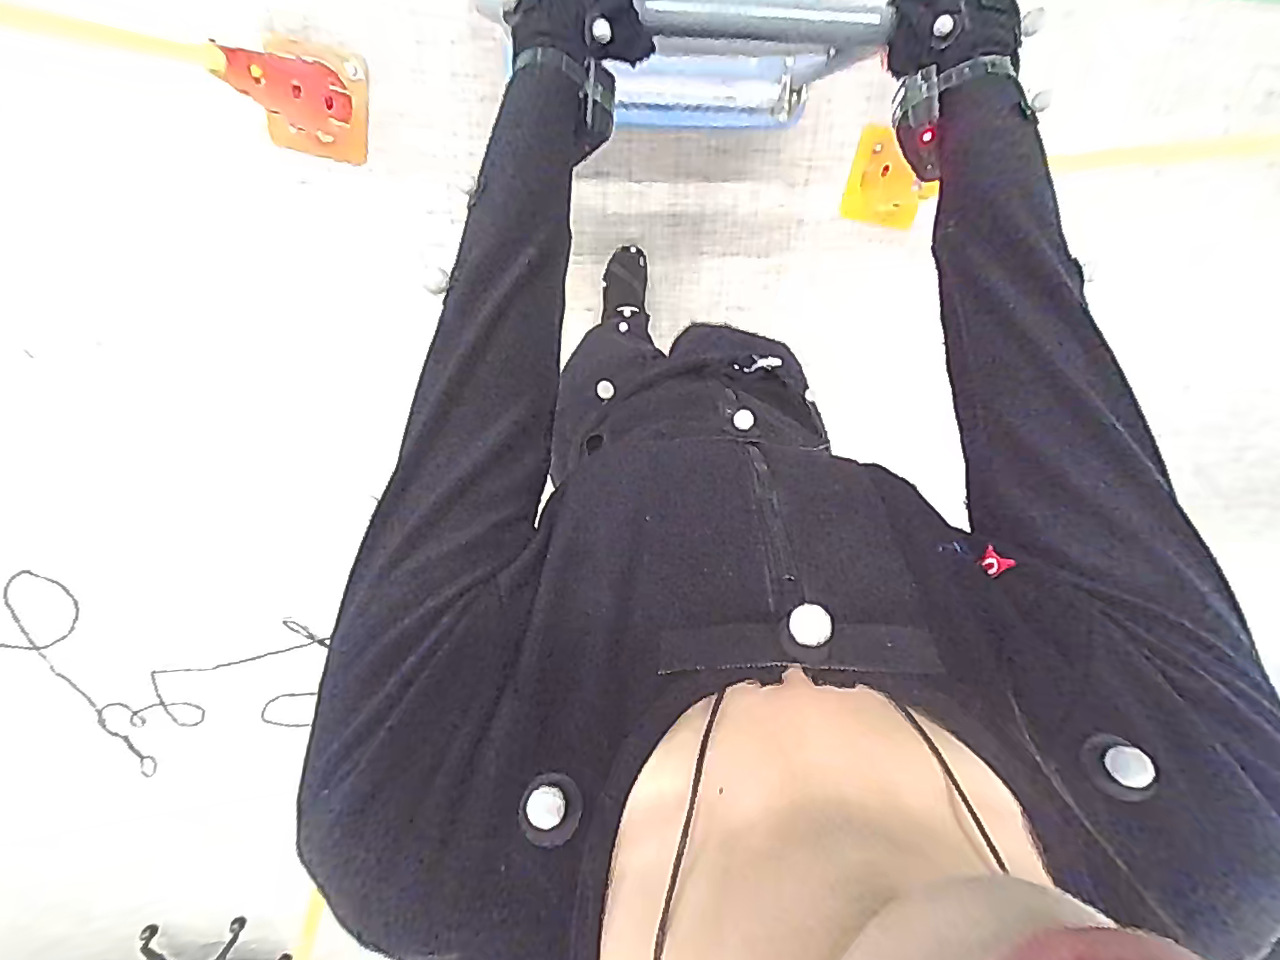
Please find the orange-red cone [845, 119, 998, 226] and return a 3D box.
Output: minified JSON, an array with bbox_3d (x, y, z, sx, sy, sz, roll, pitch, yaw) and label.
[{"bbox_3d":[0.617,-0.650,1.134,0.198,0.360,0.199,8,116,-9],"label":"orange-red cone"}]
